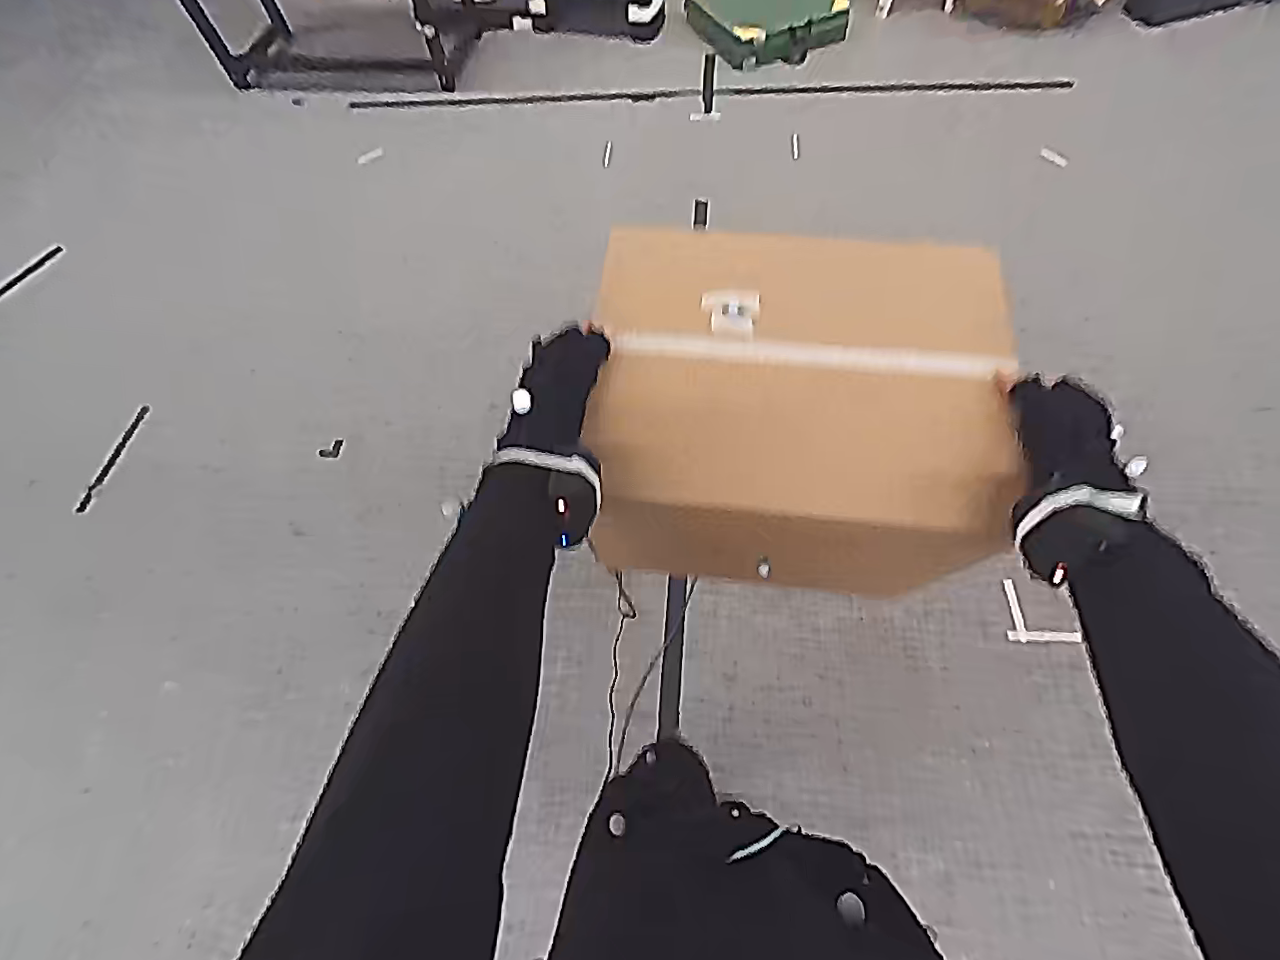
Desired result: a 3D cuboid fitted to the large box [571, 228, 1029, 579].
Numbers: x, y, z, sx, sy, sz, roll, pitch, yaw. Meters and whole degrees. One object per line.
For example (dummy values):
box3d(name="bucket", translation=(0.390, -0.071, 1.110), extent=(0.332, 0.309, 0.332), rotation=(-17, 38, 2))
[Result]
box3d(name="large box", translation=(0.161, -0.070, 0.664), extent=(0.408, 0.320, 0.320), rotation=(5, 69, 6))
